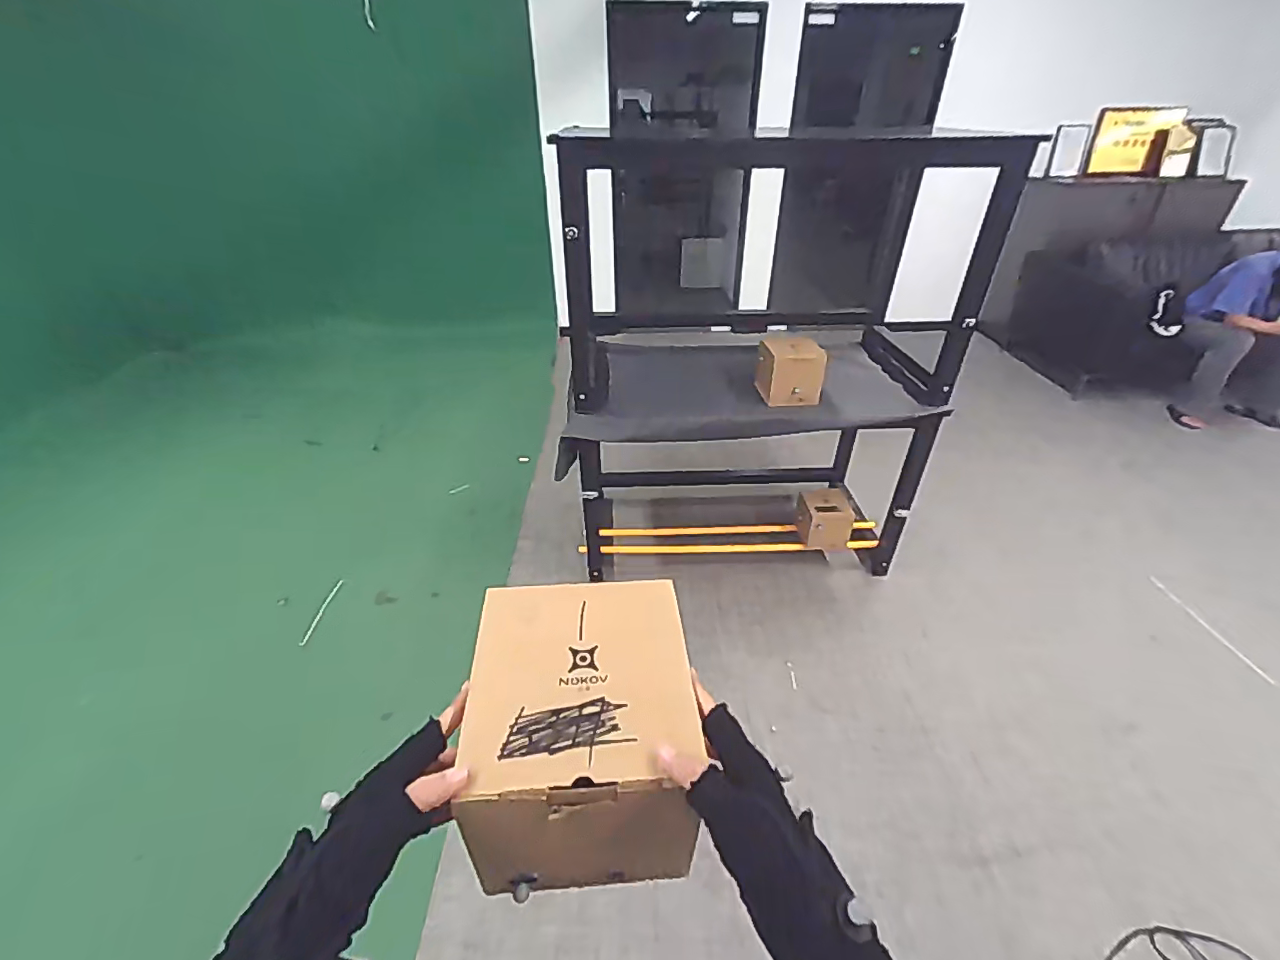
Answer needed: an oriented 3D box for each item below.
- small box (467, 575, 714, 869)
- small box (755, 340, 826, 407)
[{"bbox_3d":[-0.038,0.204,0.462,0.168,0.176,0.179,-1,35,-5],"label":"small box"},{"bbox_3d":[0.484,-0.348,1.769,0.168,0.176,0.179,-3,34,-4],"label":"small box"}]
